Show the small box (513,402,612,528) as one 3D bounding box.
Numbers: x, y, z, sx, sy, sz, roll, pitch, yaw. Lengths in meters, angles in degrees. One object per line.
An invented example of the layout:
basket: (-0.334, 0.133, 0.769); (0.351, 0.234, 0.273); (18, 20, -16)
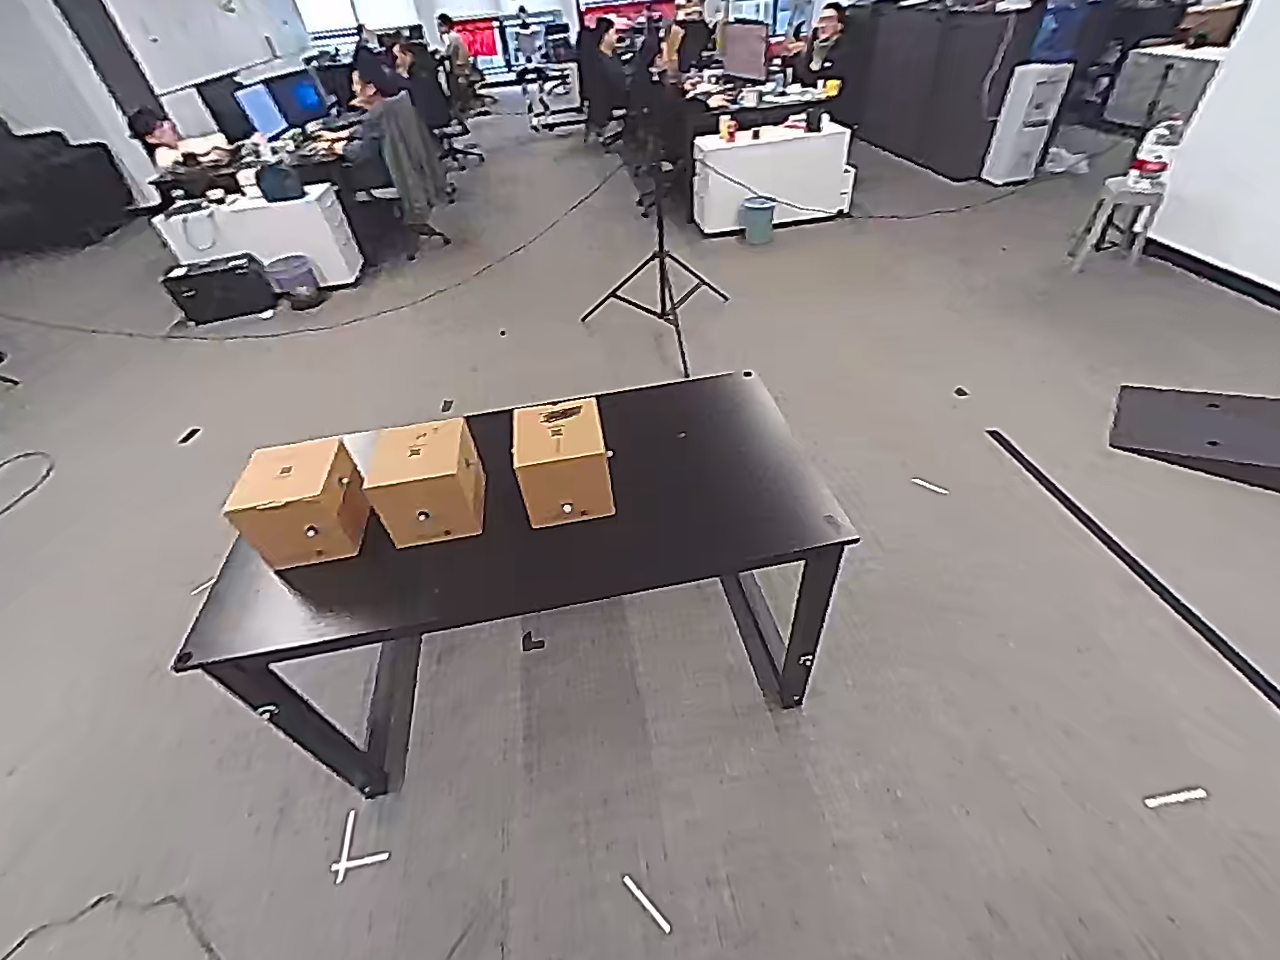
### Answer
small box: (-0.154, -0.030, 1.081); (0.168, 0.176, 0.179); (-10, 44, -4)

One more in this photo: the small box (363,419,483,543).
small box: (-0.416, 0.008, 1.069); (0.168, 0.176, 0.179); (-9, 43, -5)

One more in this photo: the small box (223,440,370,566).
small box: (-0.651, 0.050, 1.053); (0.168, 0.176, 0.179); (-10, 42, -6)
